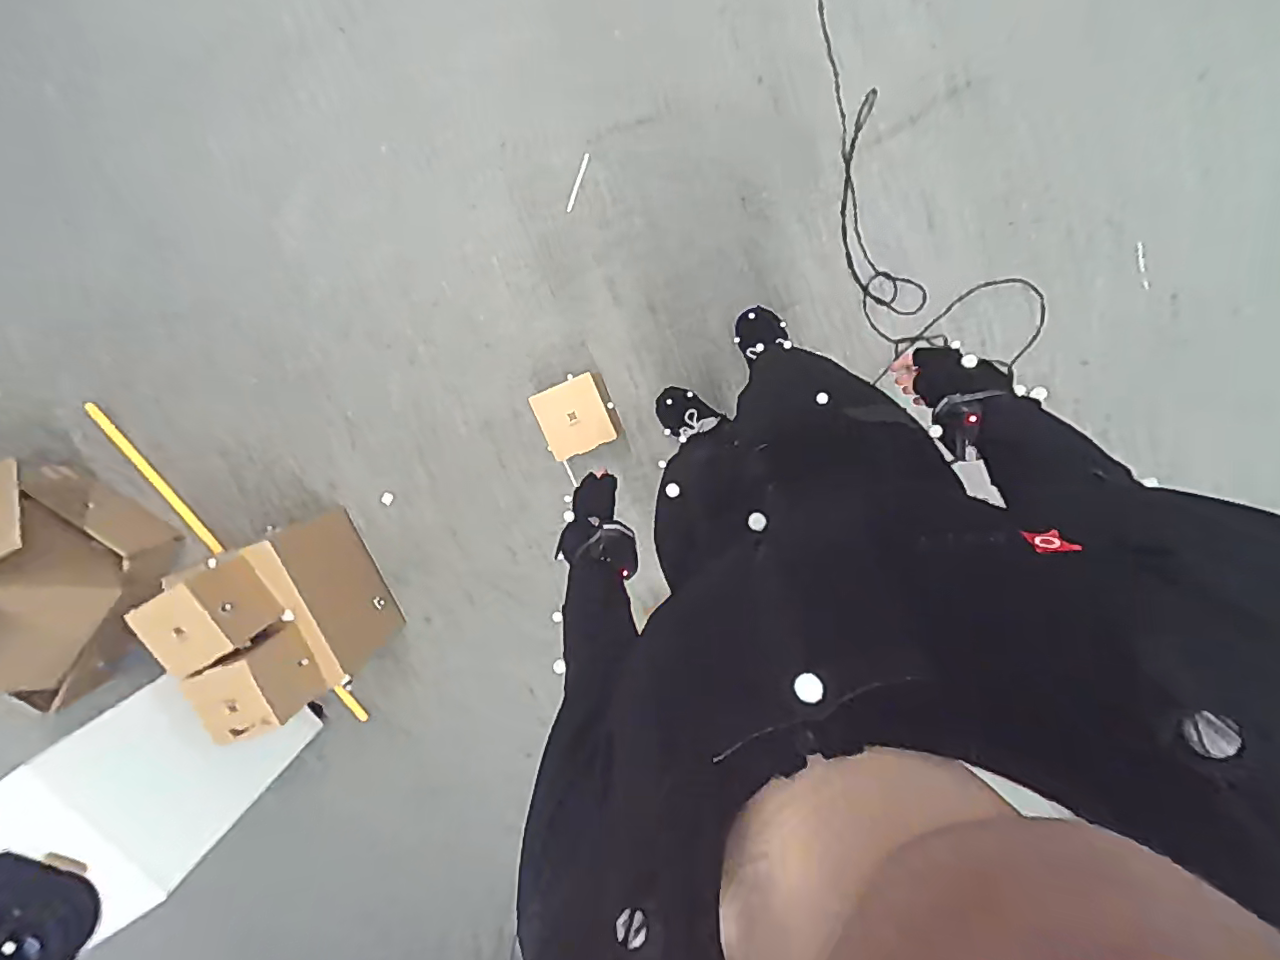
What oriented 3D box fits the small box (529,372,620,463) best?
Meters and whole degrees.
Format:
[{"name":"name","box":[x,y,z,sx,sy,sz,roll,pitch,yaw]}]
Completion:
[{"name":"small box","box":[-0.159,-0.165,1.374,0.168,0.176,0.179,-22,102,7]}]
